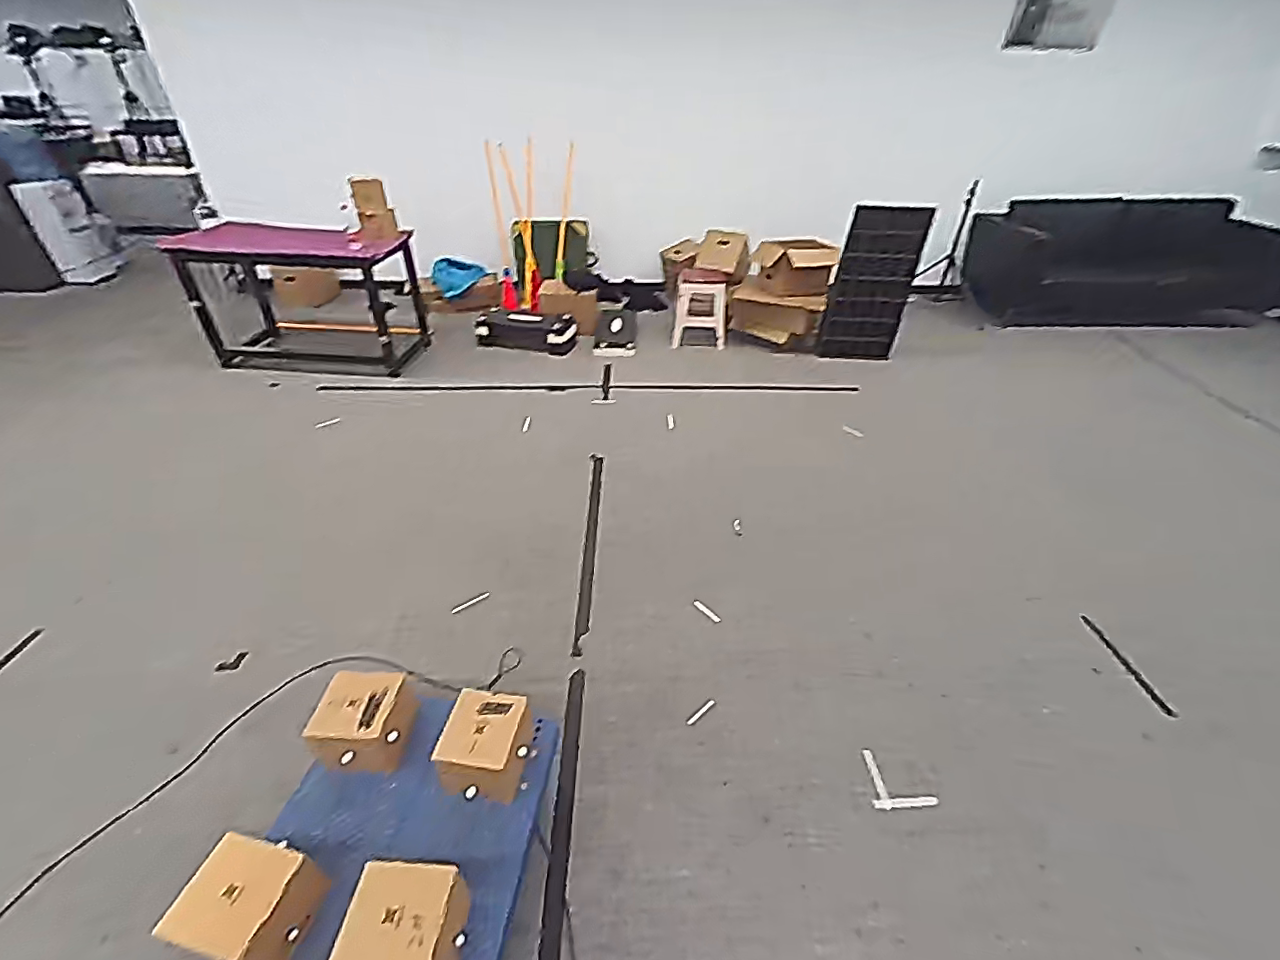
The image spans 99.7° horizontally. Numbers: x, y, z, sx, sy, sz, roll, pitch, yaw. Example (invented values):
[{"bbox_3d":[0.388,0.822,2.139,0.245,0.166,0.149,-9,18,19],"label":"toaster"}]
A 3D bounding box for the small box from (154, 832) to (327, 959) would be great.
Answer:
[{"bbox_3d":[-0.740,0.810,1.024,0.179,0.176,0.168,10,37,9],"label":"small box"}]

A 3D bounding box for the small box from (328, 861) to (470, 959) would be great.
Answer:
[{"bbox_3d":[-0.435,0.836,0.999,0.179,0.176,0.168,3,37,2],"label":"small box"}]

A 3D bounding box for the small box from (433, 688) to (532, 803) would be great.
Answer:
[{"bbox_3d":[-0.362,0.628,1.283,0.168,0.176,0.179,6,38,6],"label":"small box"}]
